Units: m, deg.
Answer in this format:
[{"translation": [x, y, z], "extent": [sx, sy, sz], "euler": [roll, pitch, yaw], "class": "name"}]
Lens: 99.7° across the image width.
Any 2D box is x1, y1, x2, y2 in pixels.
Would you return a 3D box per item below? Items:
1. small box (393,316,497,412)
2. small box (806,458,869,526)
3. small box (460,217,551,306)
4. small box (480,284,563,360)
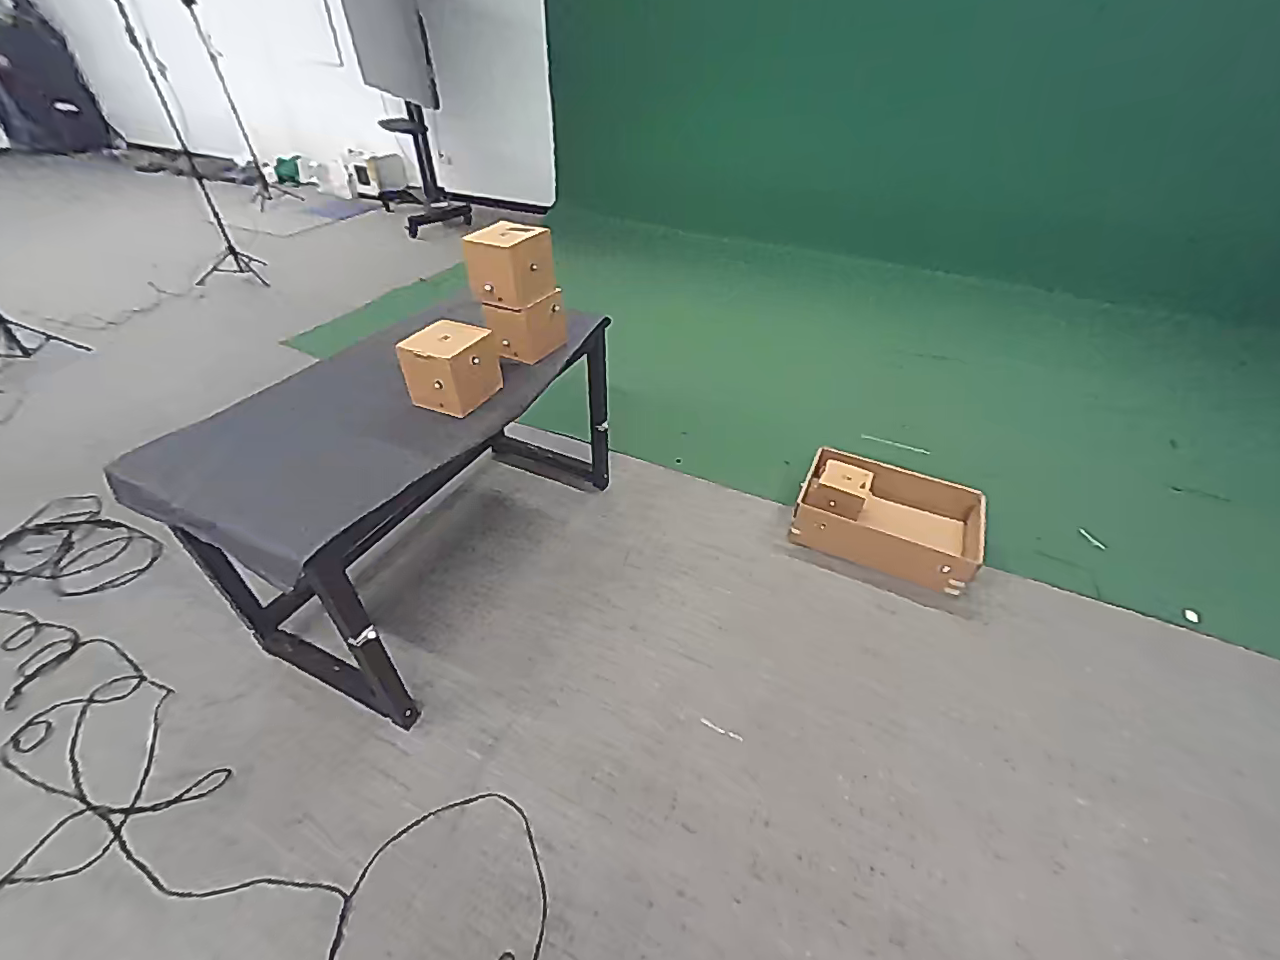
[{"translation": [-0.483, -0.294, 1.375], "extent": [0.168, 0.176, 0.179], "euler": [18, 42, 18], "class": "small box"}, {"translation": [0.755, 0.049, 2.077], "extent": [0.179, 0.176, 0.168], "euler": [20, 45, 20], "class": "small box"}, {"translation": [-0.357, -0.598, 1.476], "extent": [0.168, 0.176, 0.179], "euler": [20, 45, 22], "class": "small box"}, {"translation": [-0.341, -0.478, 1.588], "extent": [0.168, 0.176, 0.179], "euler": [20, 45, 23], "class": "small box"}]
